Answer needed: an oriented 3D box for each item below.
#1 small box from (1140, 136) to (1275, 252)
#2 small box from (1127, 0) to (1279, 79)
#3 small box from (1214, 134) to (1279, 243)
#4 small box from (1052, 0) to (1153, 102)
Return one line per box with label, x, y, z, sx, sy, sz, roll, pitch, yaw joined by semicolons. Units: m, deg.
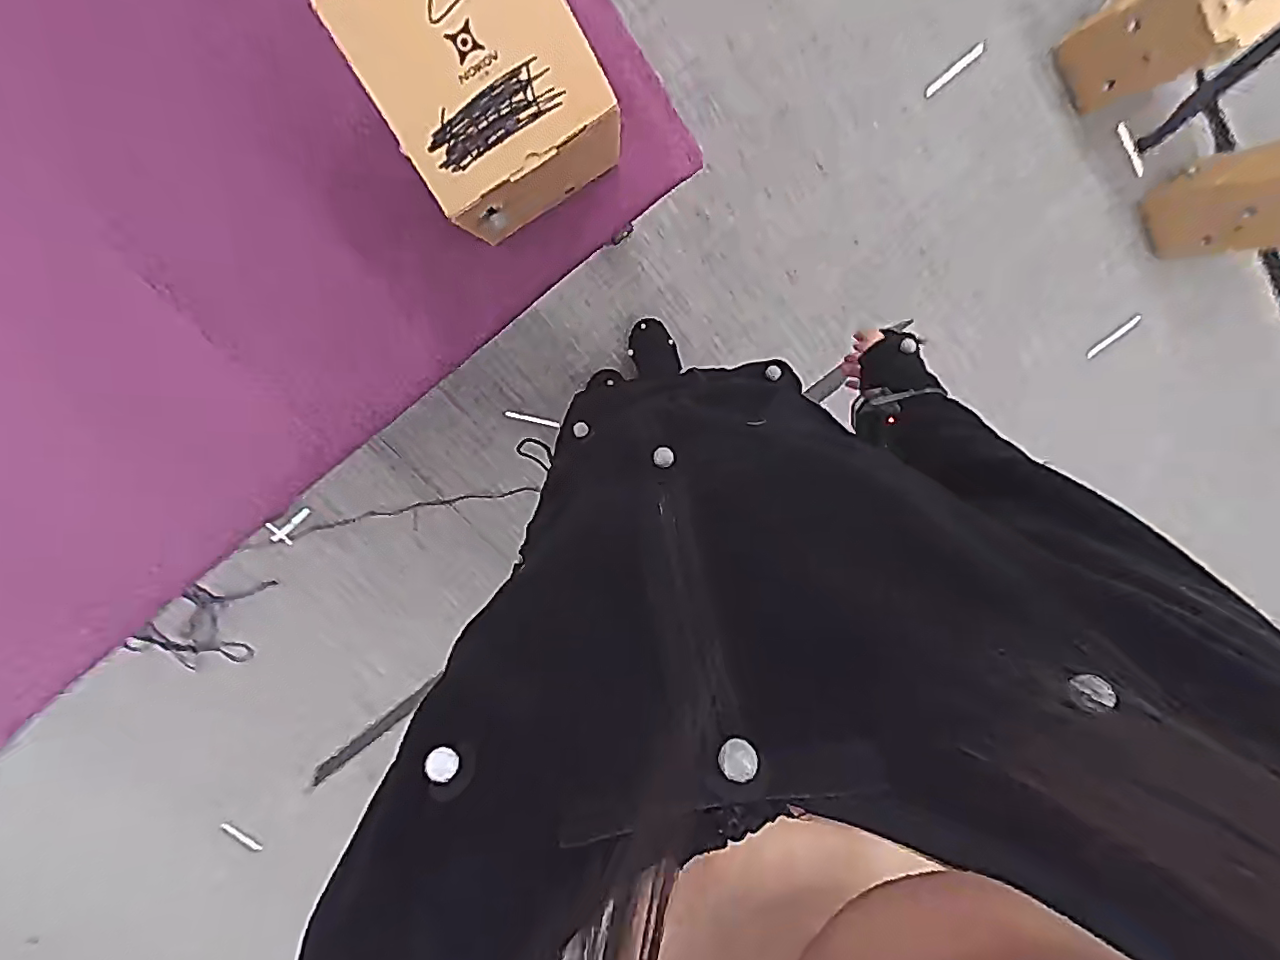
small box;1.347;-0.658;1.271;0.168;0.176;0.179;-35;107;6
small box;1.064;-0.903;1.002;0.179;0.176;0.168;-39;106;6
small box;1.370;-0.618;1.115;0.179;0.176;0.168;-39;107;8
small box;1.048;-0.955;1.157;0.168;0.176;0.179;-42;105;7
